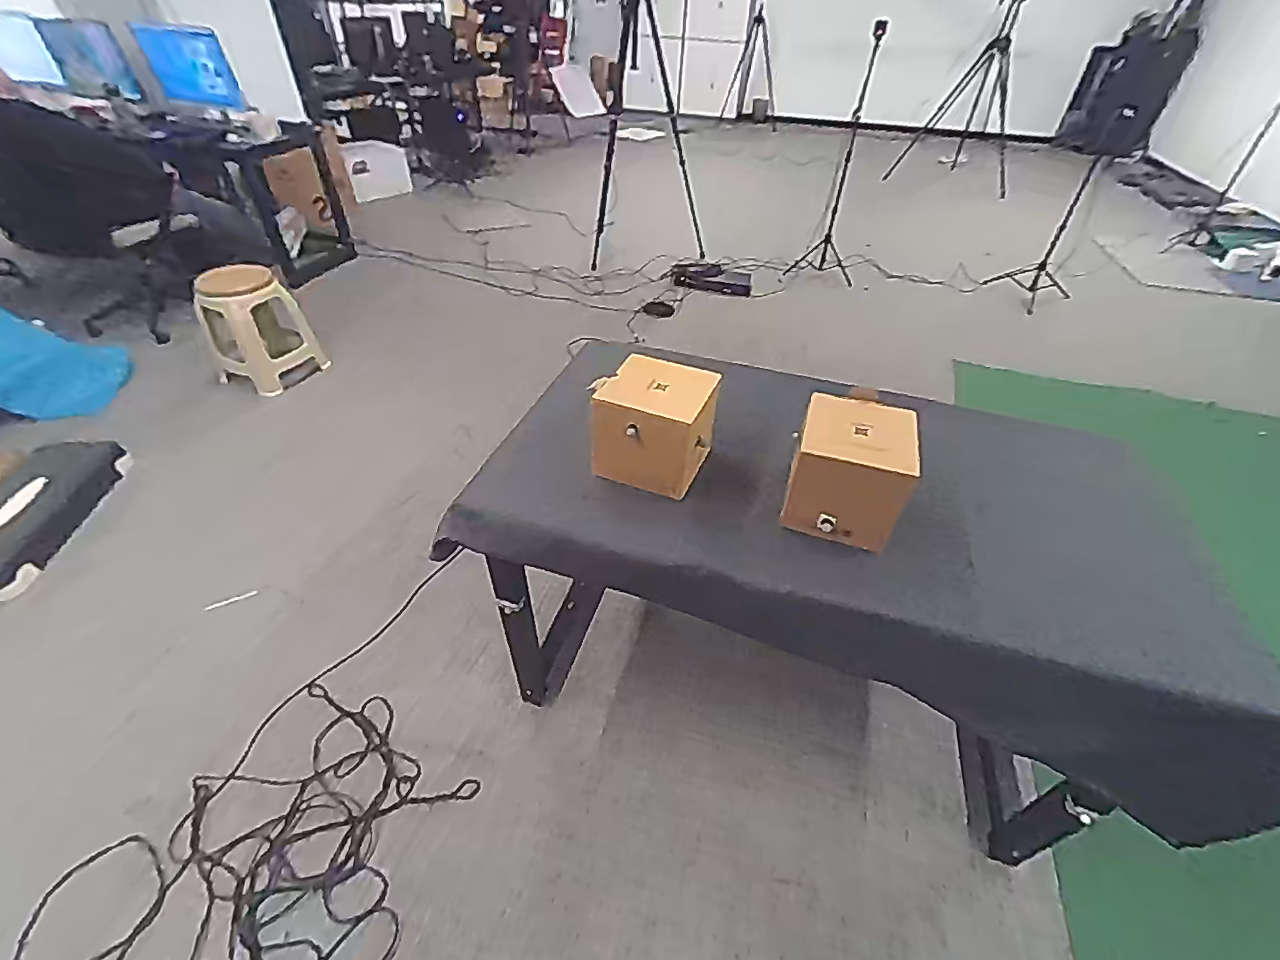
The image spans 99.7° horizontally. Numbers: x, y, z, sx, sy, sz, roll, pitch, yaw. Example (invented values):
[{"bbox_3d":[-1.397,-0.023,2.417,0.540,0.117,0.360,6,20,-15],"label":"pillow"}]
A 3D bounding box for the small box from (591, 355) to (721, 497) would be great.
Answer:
[{"bbox_3d":[0.028,-0.094,0.960,0.179,0.176,0.168,17,43,16],"label":"small box"}]

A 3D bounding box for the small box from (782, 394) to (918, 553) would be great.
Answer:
[{"bbox_3d":[0.337,-0.012,0.886,0.168,0.176,0.179,13,43,13],"label":"small box"}]
